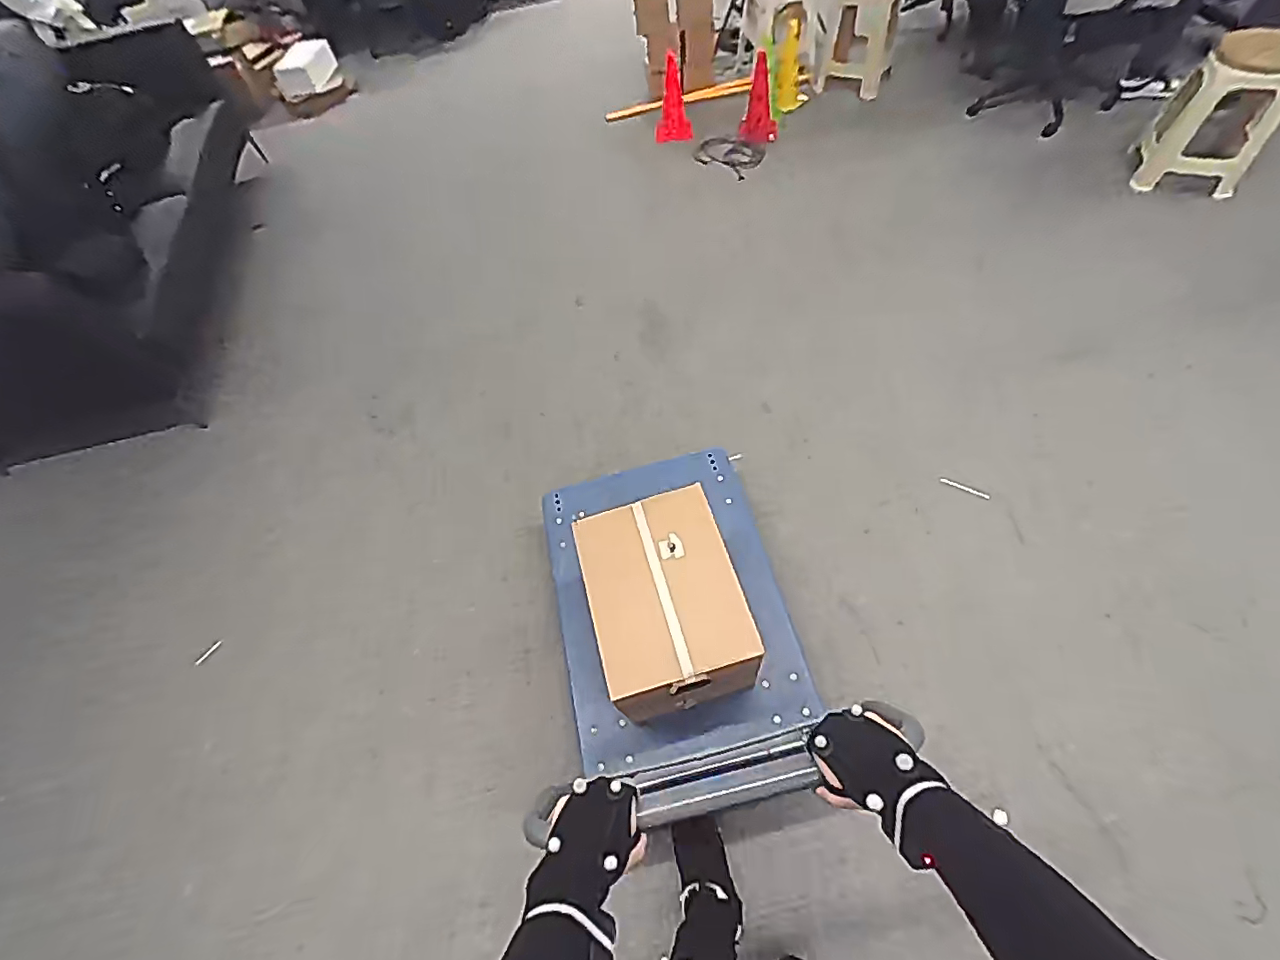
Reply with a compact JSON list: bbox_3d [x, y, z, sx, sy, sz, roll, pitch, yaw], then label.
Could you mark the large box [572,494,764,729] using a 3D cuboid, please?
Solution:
[{"bbox_3d":[0.065,0.312,1.267,0.320,0.320,0.408,-17,57,-2],"label":"large box"}]
